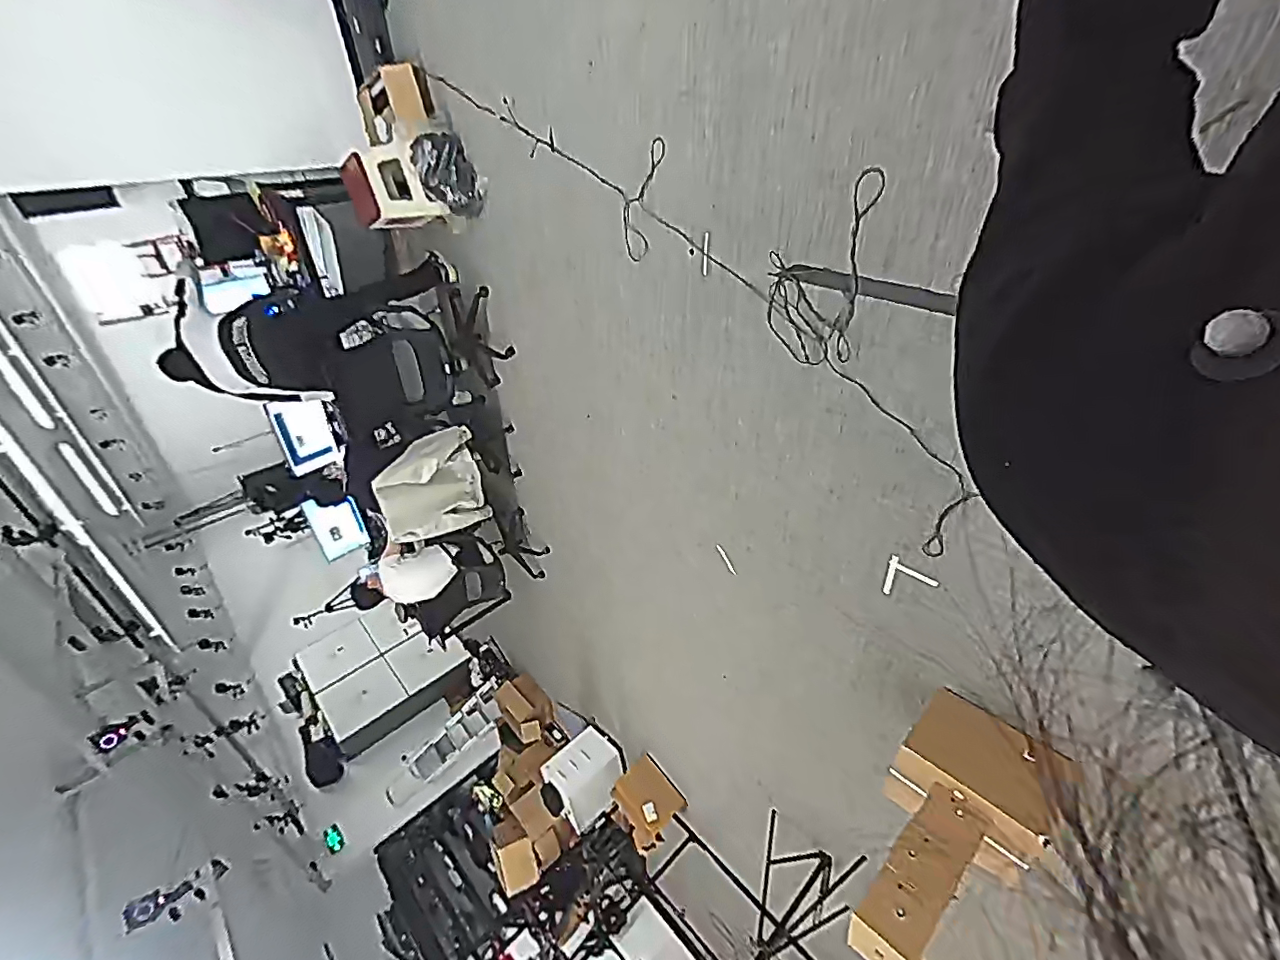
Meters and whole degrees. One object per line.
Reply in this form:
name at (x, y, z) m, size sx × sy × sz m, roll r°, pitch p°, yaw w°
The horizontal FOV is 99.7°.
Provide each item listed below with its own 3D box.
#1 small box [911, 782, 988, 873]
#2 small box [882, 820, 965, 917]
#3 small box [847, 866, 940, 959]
small box at (0.920, 1.067, 1.635) m, size 0.168 × 0.176 × 0.179 m, roll 28°, pitch 134°, yaw 39°
small box at (0.799, 1.127, 1.545) m, size 0.168 × 0.176 × 0.179 m, roll 28°, pitch 135°, yaw 41°
small box at (0.682, 1.198, 1.453) m, size 0.168 × 0.176 × 0.179 m, roll 24°, pitch 131°, yaw 44°
